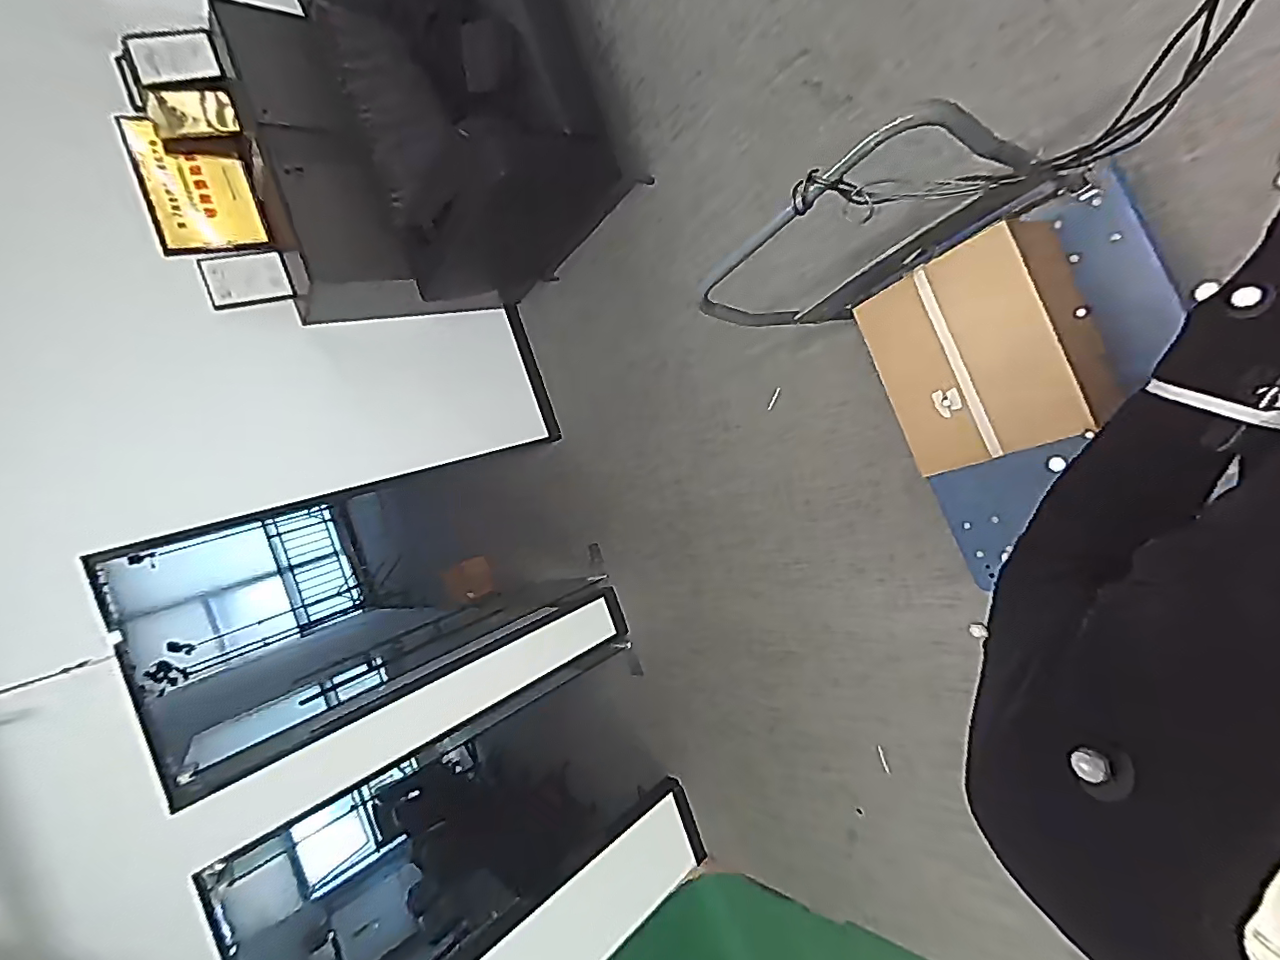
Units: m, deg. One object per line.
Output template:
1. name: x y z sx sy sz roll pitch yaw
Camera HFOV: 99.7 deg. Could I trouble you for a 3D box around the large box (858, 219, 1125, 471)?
1. large box: 0.745 -0.280 1.153 0.320 0.320 0.408 -25 86 52
